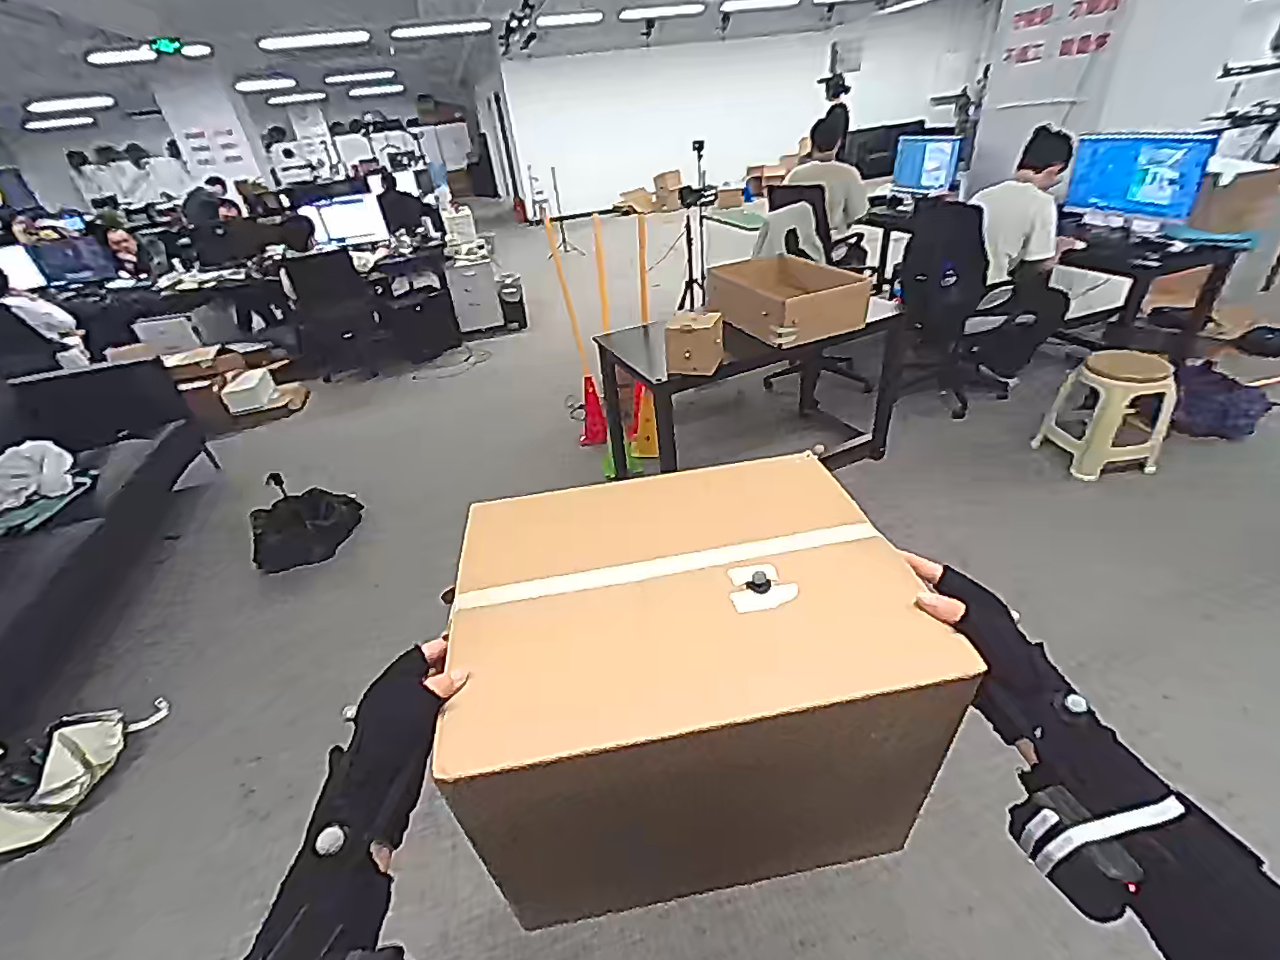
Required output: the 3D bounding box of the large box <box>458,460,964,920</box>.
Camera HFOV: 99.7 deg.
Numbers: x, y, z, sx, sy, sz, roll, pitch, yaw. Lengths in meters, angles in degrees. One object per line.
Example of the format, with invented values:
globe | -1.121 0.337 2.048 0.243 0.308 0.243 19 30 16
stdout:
large box | 0.046 0.211 0.605 0.408 0.320 0.320 -9 35 -6
